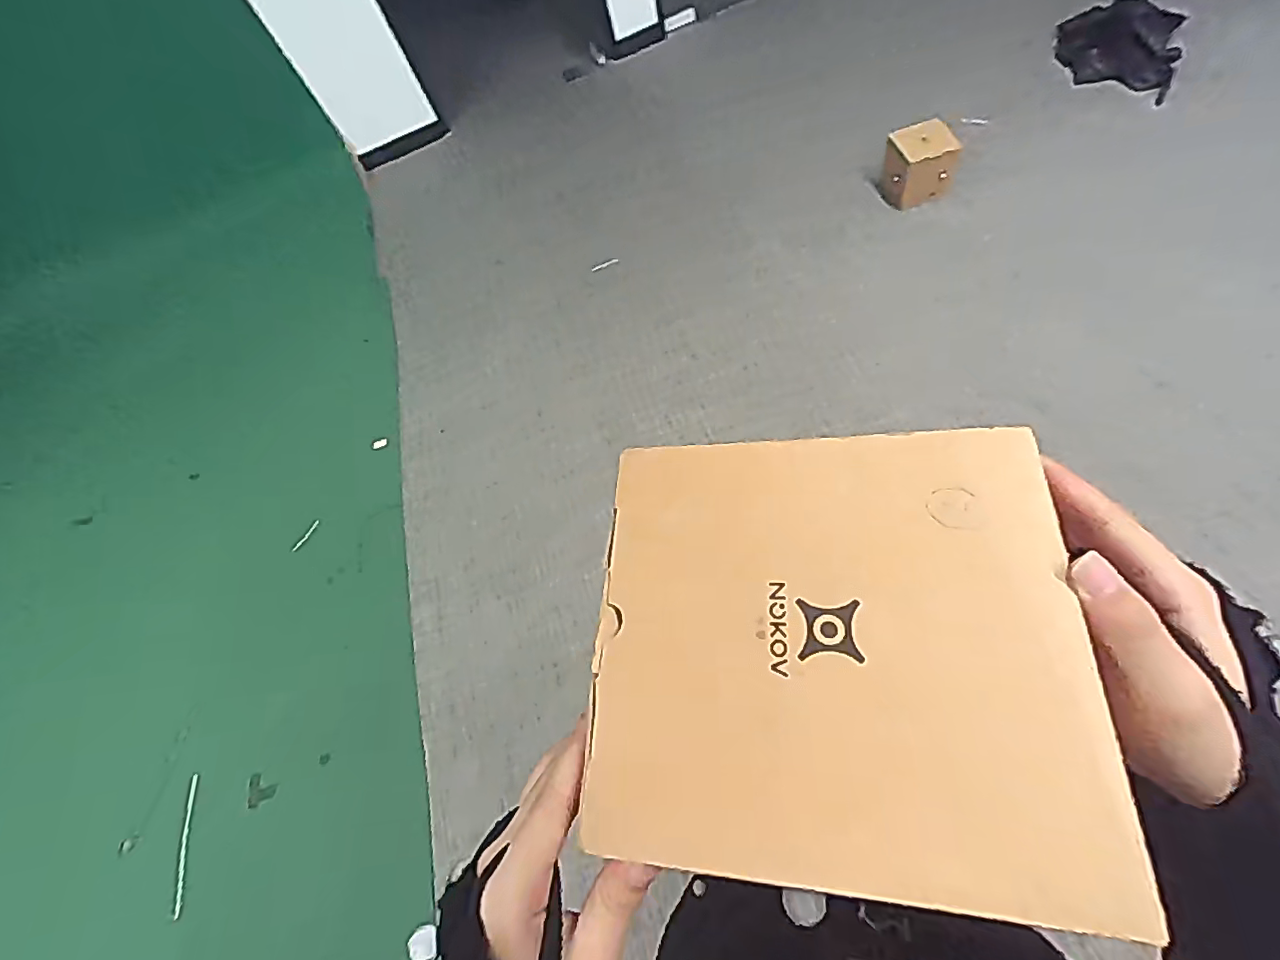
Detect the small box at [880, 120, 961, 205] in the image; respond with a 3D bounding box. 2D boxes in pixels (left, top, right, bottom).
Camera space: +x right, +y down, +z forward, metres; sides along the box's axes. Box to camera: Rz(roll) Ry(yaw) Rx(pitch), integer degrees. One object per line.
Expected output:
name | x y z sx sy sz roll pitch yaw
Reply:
small box | 0.916 -1.036 1.783 0.168 0.176 0.179 -15 58 5
